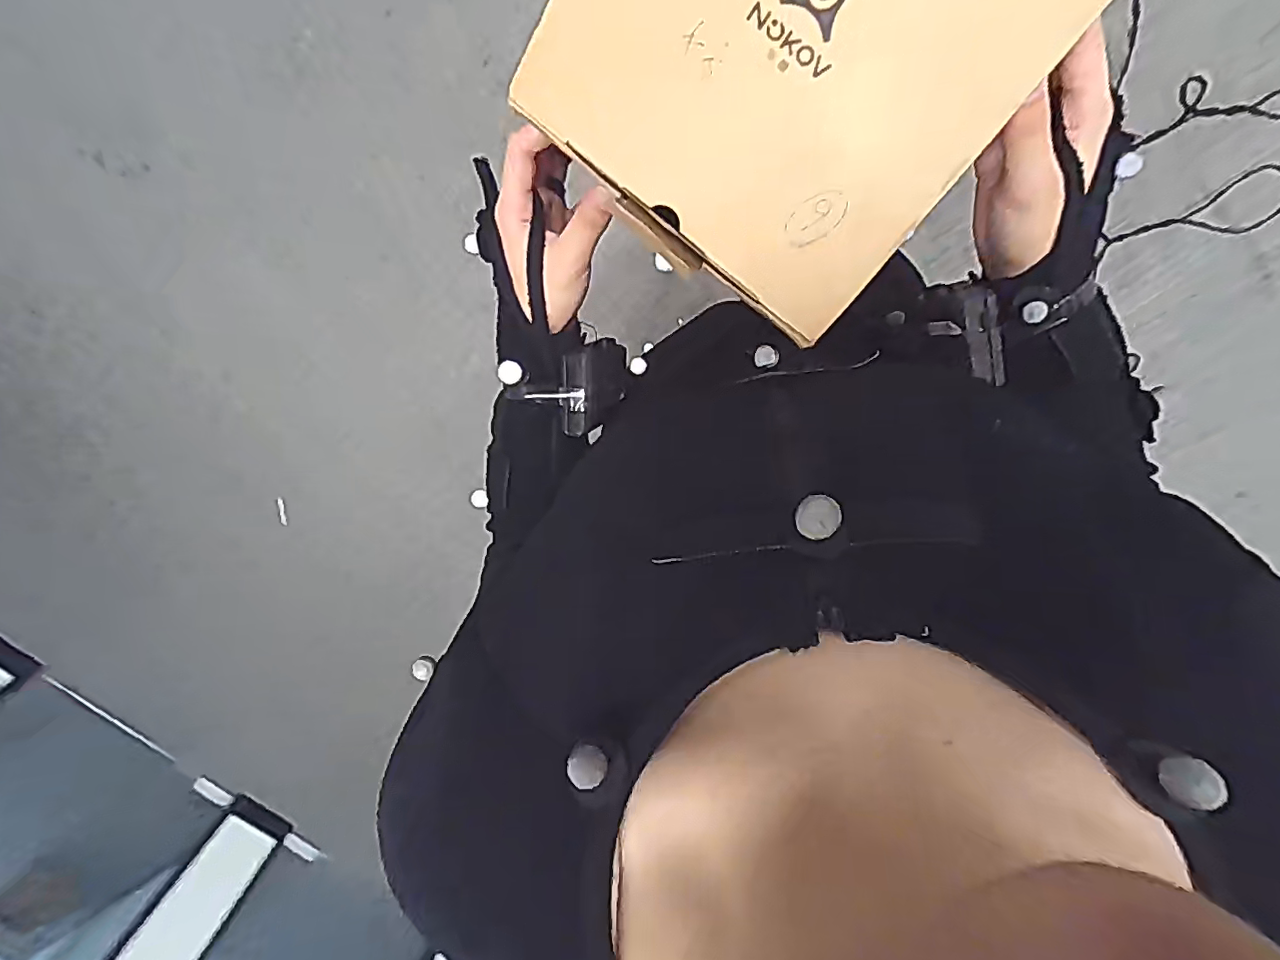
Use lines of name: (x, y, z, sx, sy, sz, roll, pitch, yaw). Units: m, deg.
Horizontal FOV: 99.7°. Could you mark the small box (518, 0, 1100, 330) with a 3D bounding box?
small box: (0.075, -0.203, 0.277, 0.168, 0.176, 0.179, 38, 112, -6)
